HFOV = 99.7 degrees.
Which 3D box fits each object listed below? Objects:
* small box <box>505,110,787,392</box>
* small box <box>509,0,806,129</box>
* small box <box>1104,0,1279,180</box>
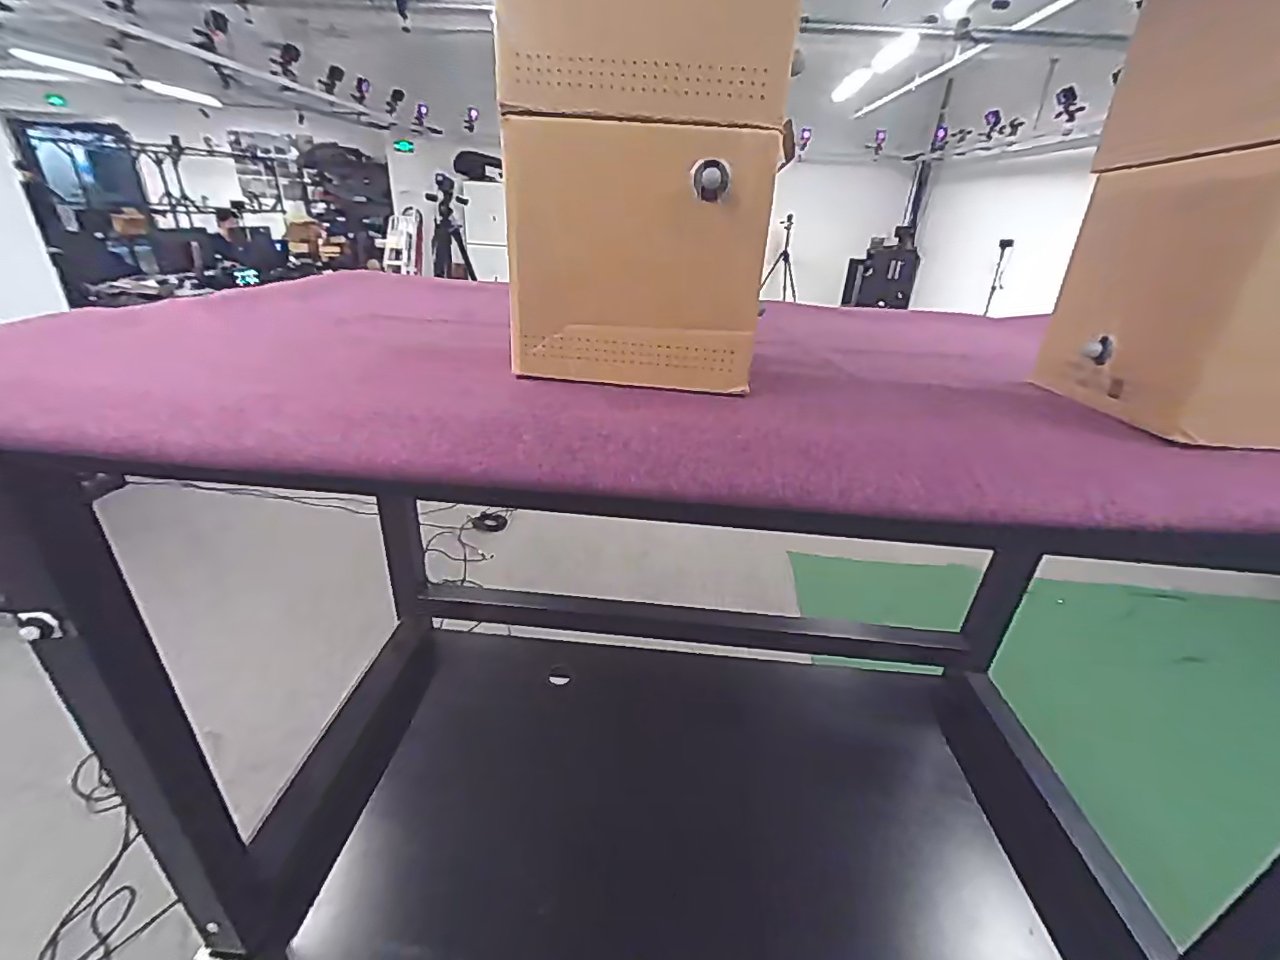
[{"bbox_3d":[0.005,-0.173,0.428,0.179,0.176,0.168,6,25,3],"label":"small box"},{"bbox_3d":[0.016,-0.323,0.363,0.179,0.176,0.168,7,25,3],"label":"small box"},{"bbox_3d":[0.428,-0.273,0.305,0.168,0.176,0.179,4,24,4],"label":"small box"}]
